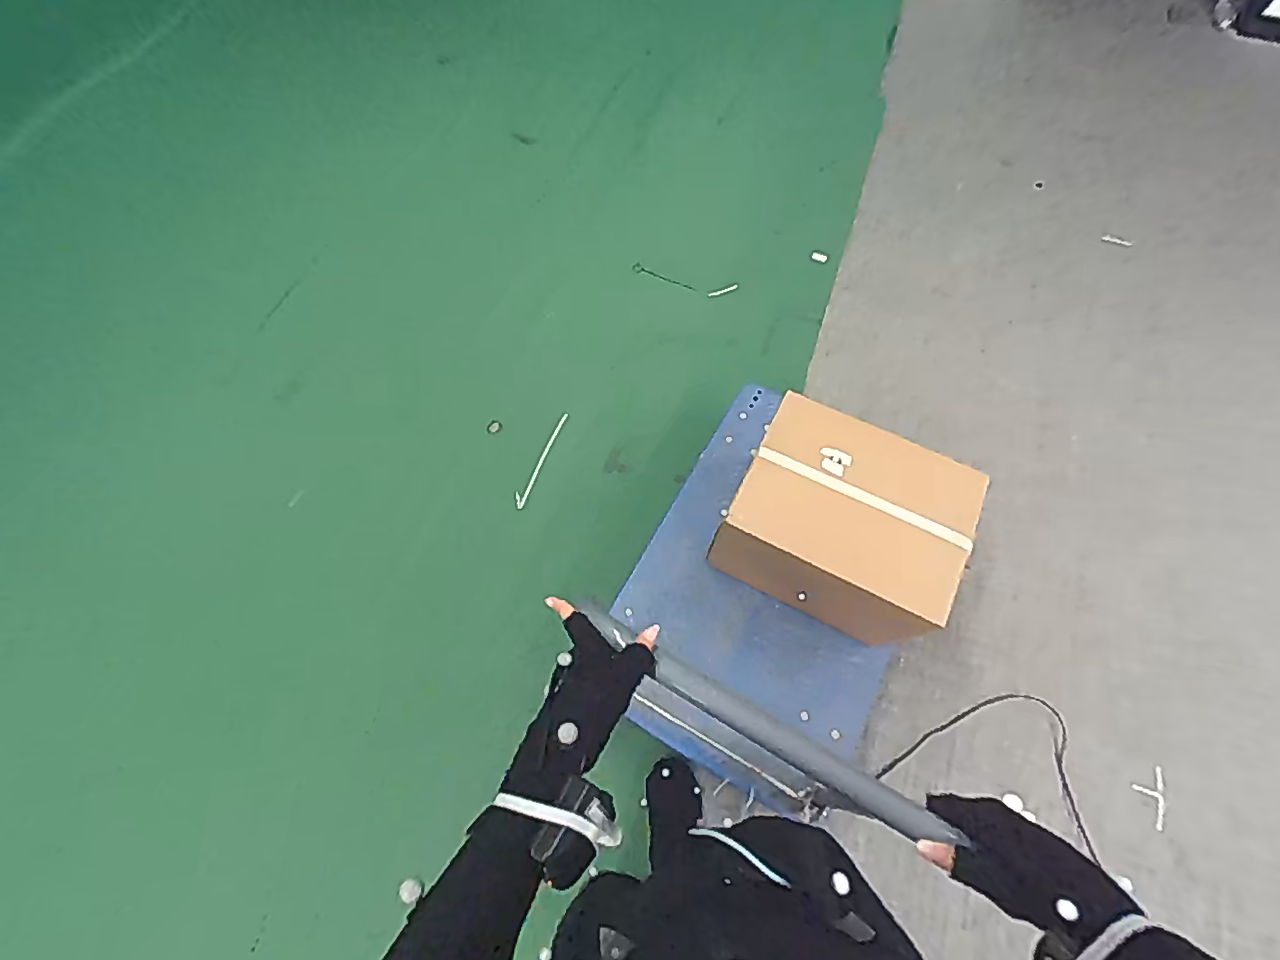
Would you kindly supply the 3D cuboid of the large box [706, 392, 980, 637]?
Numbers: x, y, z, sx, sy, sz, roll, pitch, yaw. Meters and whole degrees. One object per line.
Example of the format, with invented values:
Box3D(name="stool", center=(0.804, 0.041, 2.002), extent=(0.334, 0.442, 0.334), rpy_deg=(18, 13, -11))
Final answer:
Box3D(name="large box", center=(0.391, 0.086, 1.125), extent=(0.408, 0.320, 0.320), rpy_deg=(26, 69, 12))
